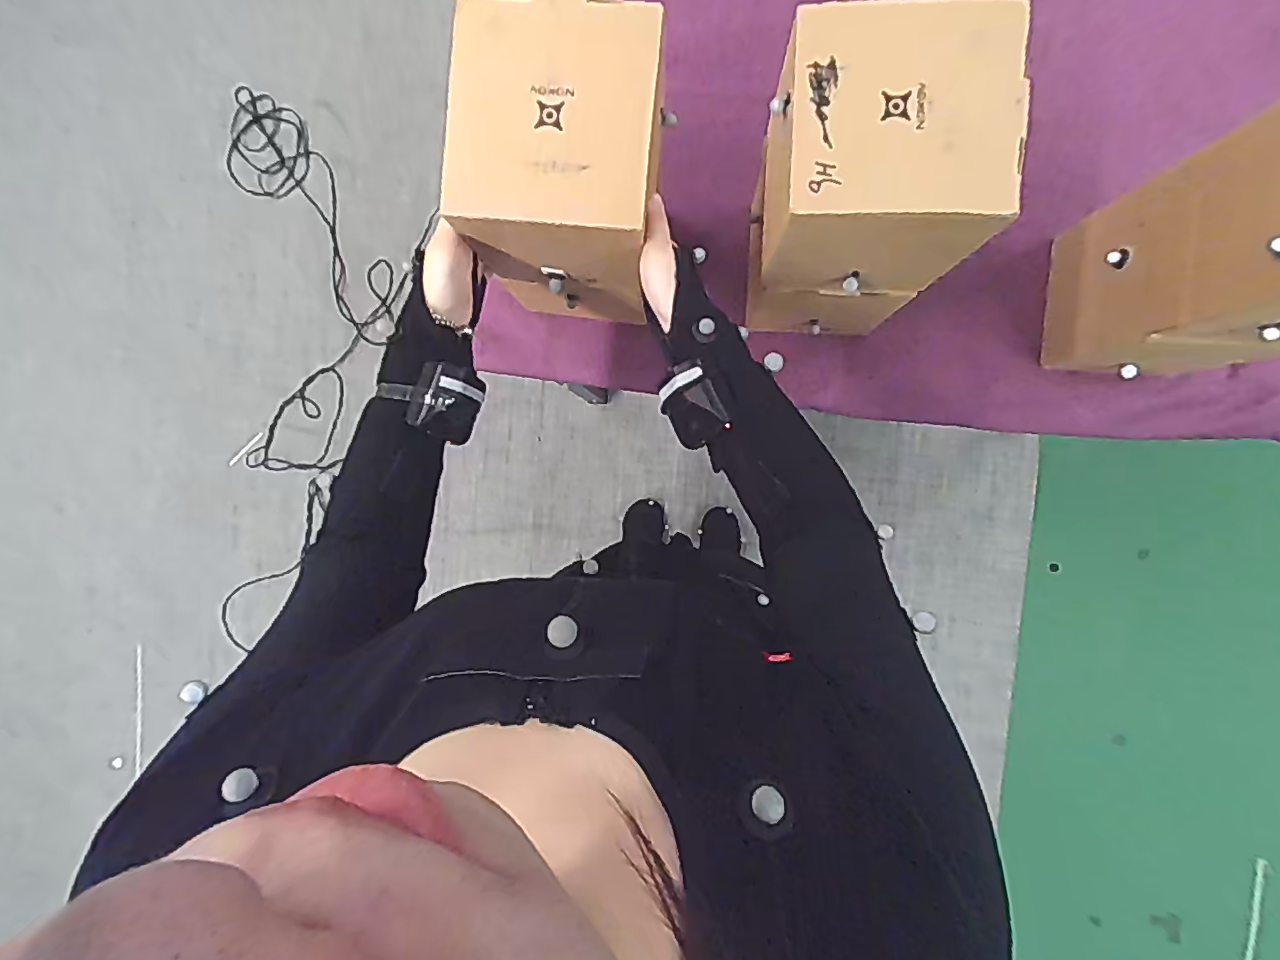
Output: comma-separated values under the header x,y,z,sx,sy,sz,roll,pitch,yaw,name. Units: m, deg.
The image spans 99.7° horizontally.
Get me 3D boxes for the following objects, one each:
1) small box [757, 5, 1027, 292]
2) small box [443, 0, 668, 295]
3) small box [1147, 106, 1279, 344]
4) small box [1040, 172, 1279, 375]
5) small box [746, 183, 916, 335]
x,y,z,sx,sy,sz,roll,pitch,yaw,name
0.212,-0.284,0.499,0.179,0.176,0.168,2,89,4,small box
-0.065,-0.290,0.503,0.168,0.176,0.179,5,93,2,small box
0.604,-0.230,0.476,0.168,0.176,0.179,4,92,4,small box
0.614,-0.230,0.639,0.168,0.176,0.179,4,92,4,small box
0.225,-0.289,0.664,0.168,0.176,0.179,3,91,4,small box
